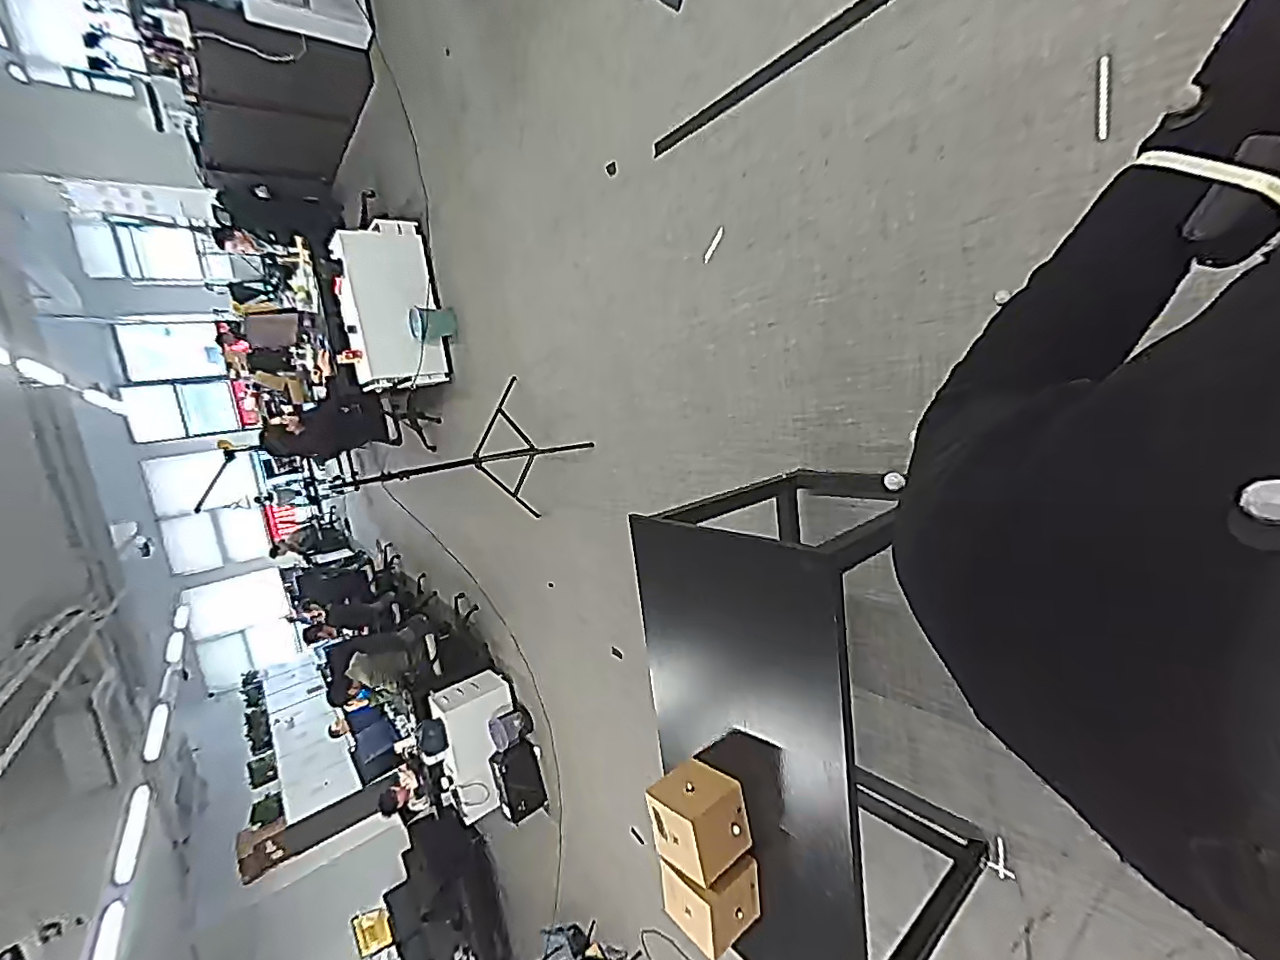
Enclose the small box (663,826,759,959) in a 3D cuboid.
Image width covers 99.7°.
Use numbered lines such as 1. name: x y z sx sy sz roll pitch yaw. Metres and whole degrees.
1. small box: 0.180 1.007 1.335 0.179 0.176 0.168 10 109 52
